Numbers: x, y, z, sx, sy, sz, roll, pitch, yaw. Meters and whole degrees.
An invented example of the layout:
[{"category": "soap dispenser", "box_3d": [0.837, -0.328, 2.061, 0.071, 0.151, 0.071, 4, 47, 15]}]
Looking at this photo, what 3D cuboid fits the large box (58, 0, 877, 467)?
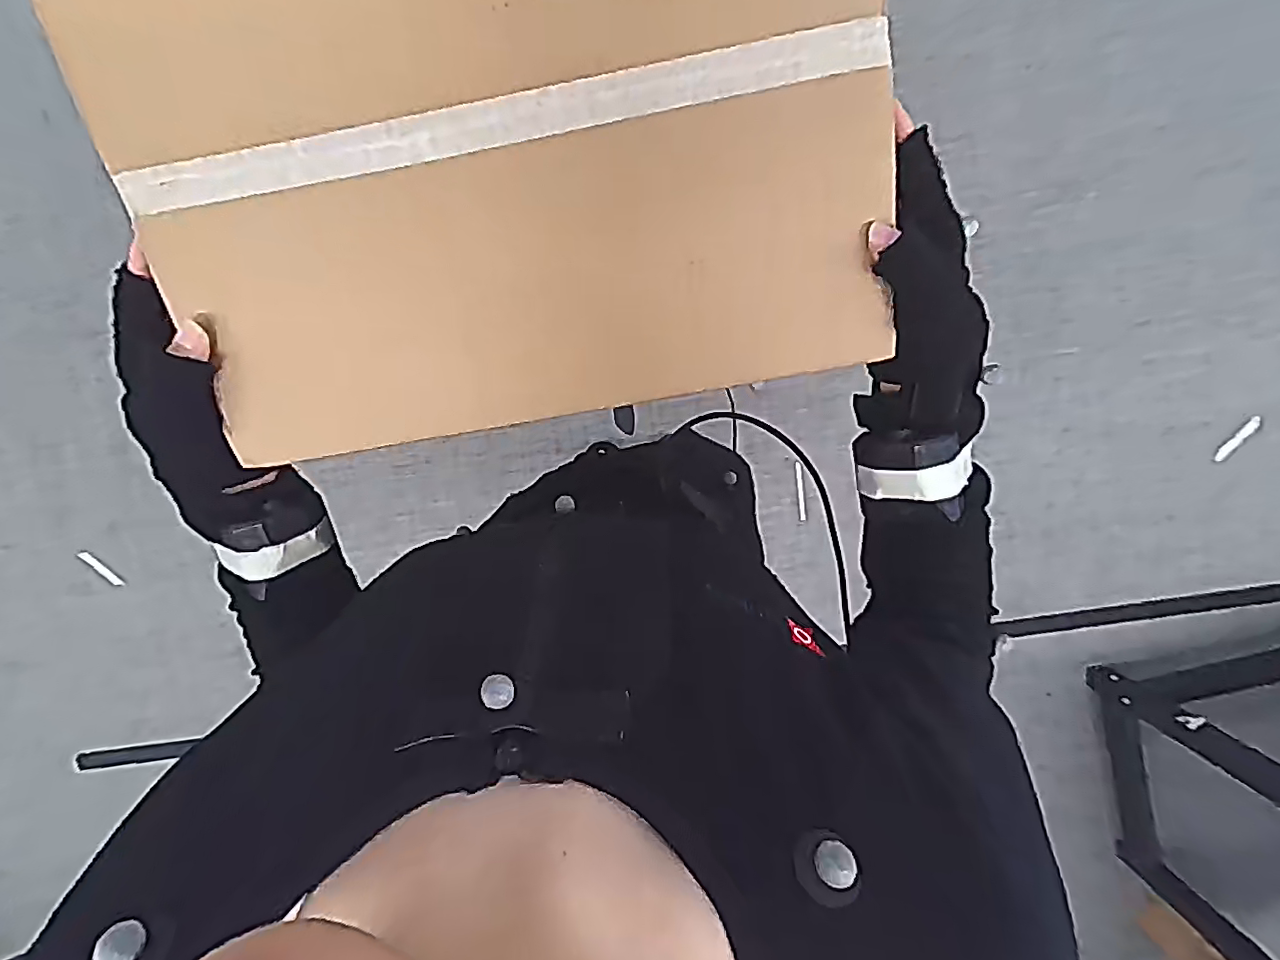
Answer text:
[{"category": "large box", "box_3d": [-0.077, -0.234, 0.430, 0.408, 0.320, 0.320, -10, 108, 3]}]
